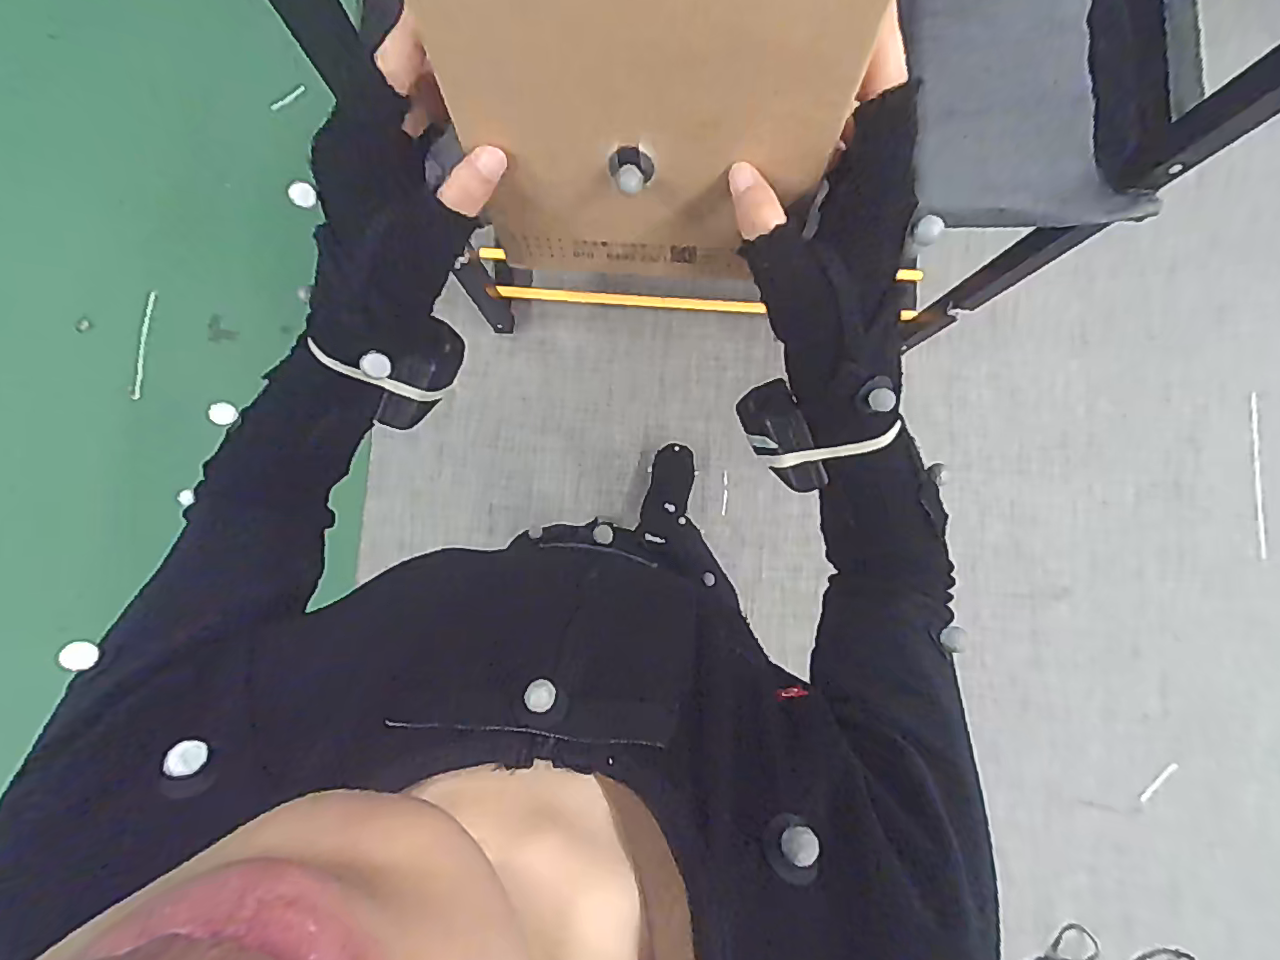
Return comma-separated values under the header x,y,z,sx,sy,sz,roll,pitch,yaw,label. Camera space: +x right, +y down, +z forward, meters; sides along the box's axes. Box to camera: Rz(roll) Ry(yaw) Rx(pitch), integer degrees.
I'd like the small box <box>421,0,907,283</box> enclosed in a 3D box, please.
x,y,z,sx,sy,sz,roll,pitch,yaw,label
0.015,-0.220,0.264,0.168,0.176,0.179,4,75,1,small box
